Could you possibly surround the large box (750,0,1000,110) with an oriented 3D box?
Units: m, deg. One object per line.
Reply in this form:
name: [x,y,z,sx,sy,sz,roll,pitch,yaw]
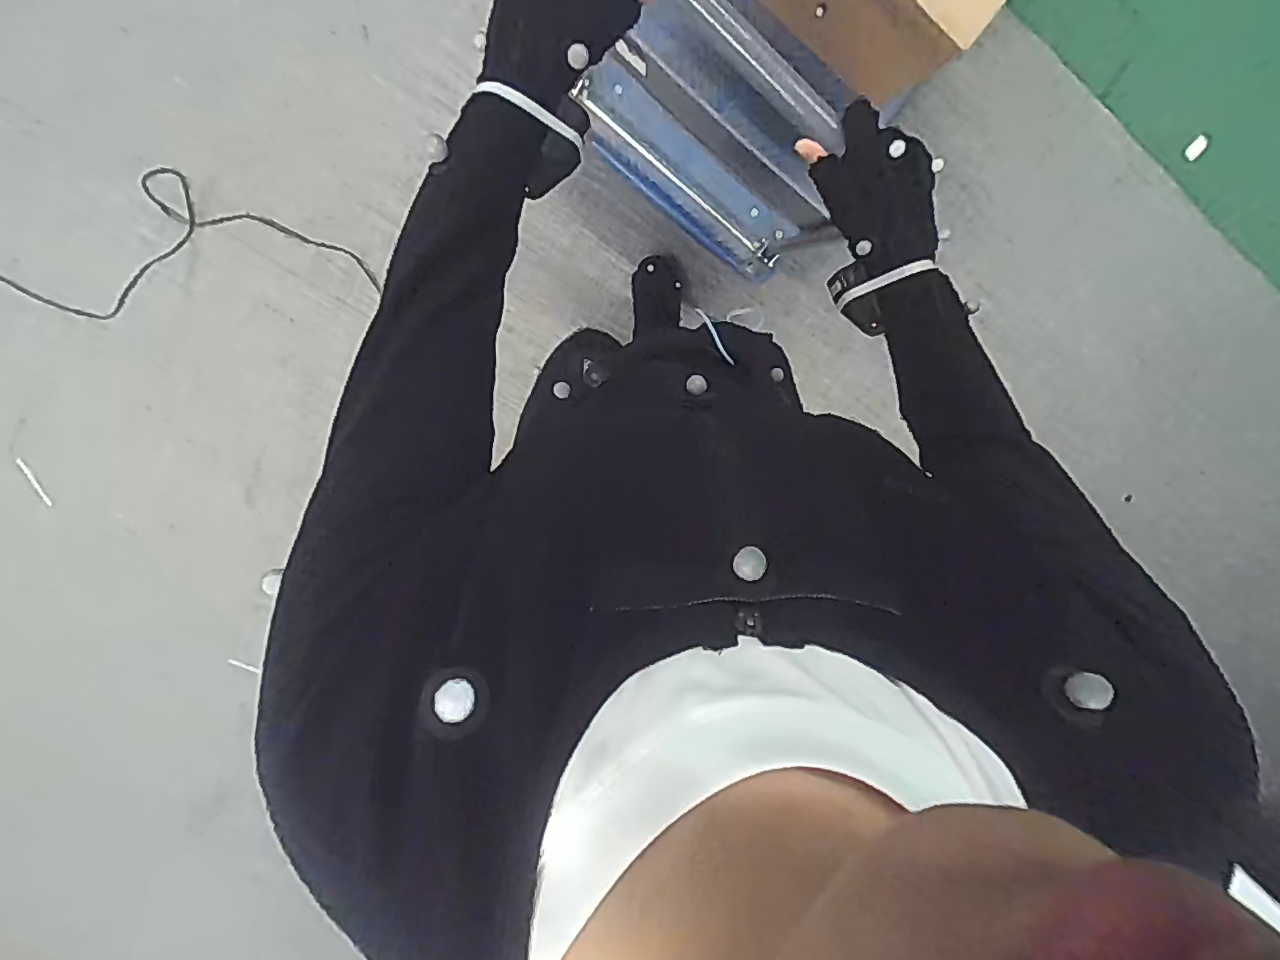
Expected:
large box: [0.391,-0.896,0.855,0.408,0.320,0.320,34,105,-13]
